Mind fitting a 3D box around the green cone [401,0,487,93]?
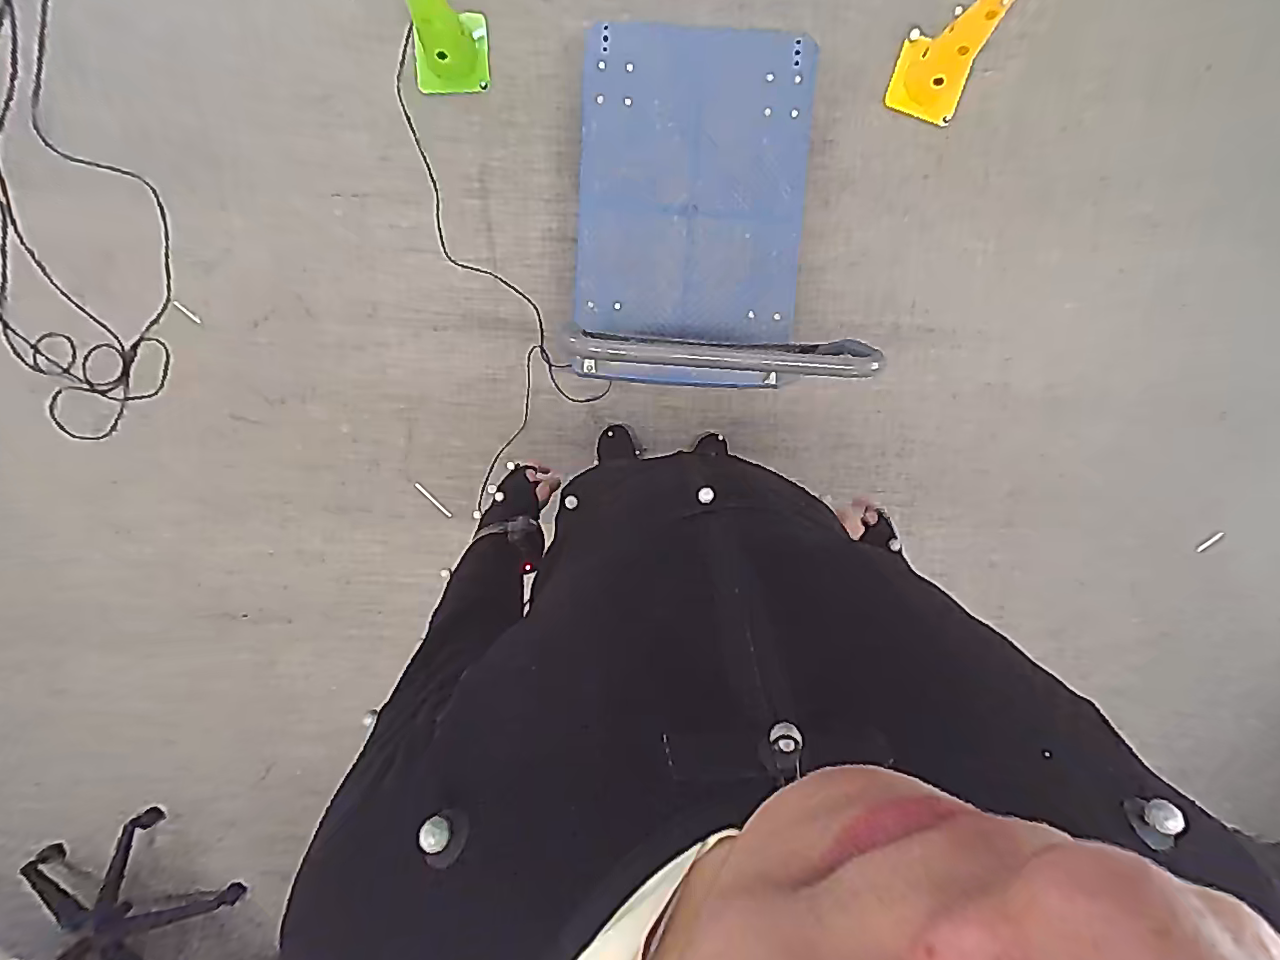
[{"bbox_3d":[-0.526,-1.153,1.308,0.202,0.368,0.200,-3,96,2],"label":"green cone"}]
